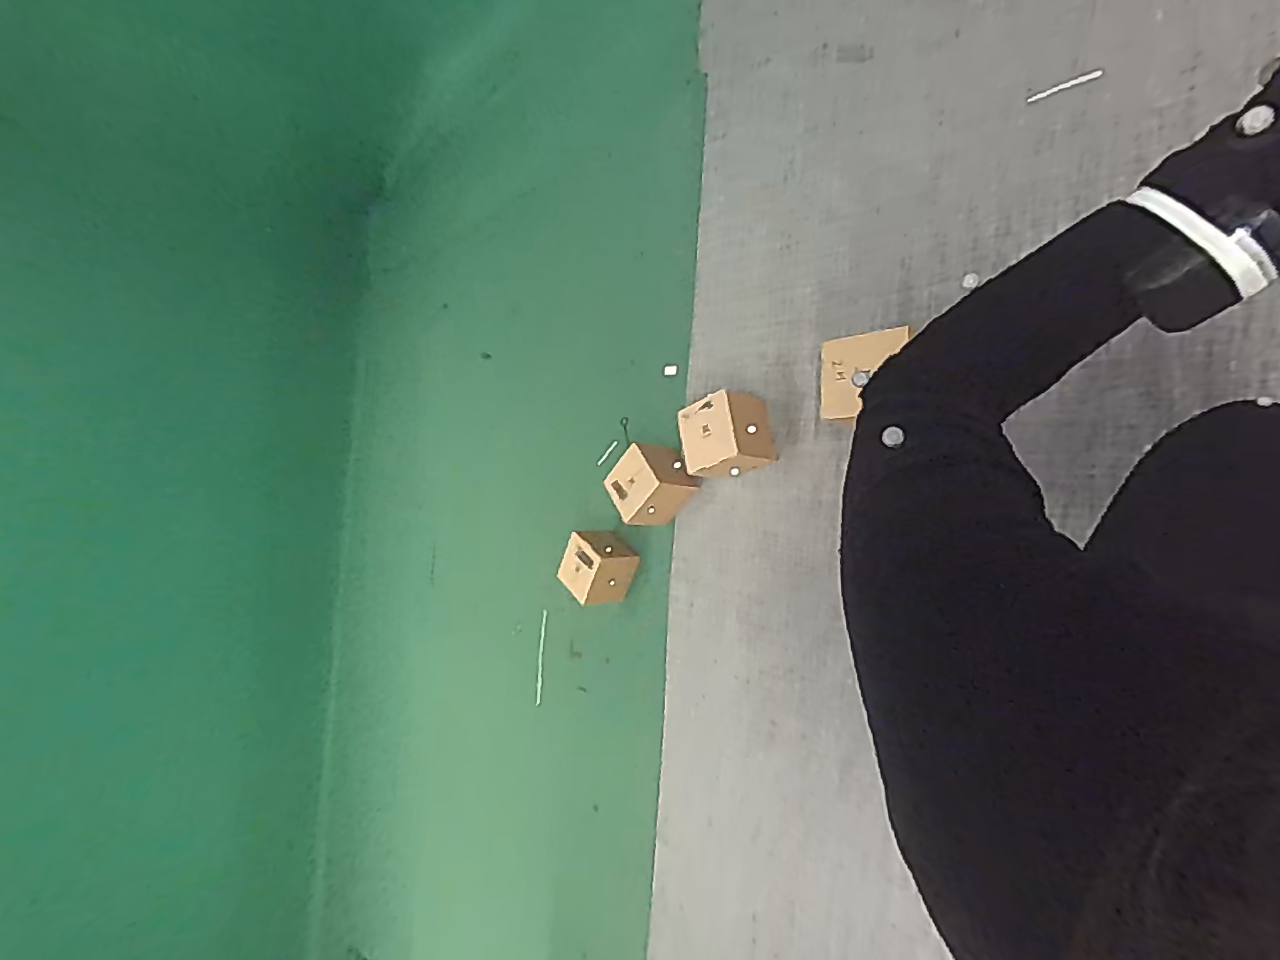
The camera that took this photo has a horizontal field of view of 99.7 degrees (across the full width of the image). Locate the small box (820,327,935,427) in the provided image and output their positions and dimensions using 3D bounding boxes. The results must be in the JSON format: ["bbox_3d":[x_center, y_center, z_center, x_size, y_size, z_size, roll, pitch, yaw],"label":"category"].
[{"bbox_3d":[0.499,-0.205,1.129,0.179,0.176,0.168,0,86,46],"label":"small box"}]

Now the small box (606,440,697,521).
[{"bbox_3d":[0.035,0.008,1.598,0.179,0.176,0.168,-51,53,30],"label":"small box"}]

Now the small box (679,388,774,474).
[{"bbox_3d":[0.228,-0.119,1.407,0.168,0.176,0.179,-22,71,43],"label":"small box"}]
